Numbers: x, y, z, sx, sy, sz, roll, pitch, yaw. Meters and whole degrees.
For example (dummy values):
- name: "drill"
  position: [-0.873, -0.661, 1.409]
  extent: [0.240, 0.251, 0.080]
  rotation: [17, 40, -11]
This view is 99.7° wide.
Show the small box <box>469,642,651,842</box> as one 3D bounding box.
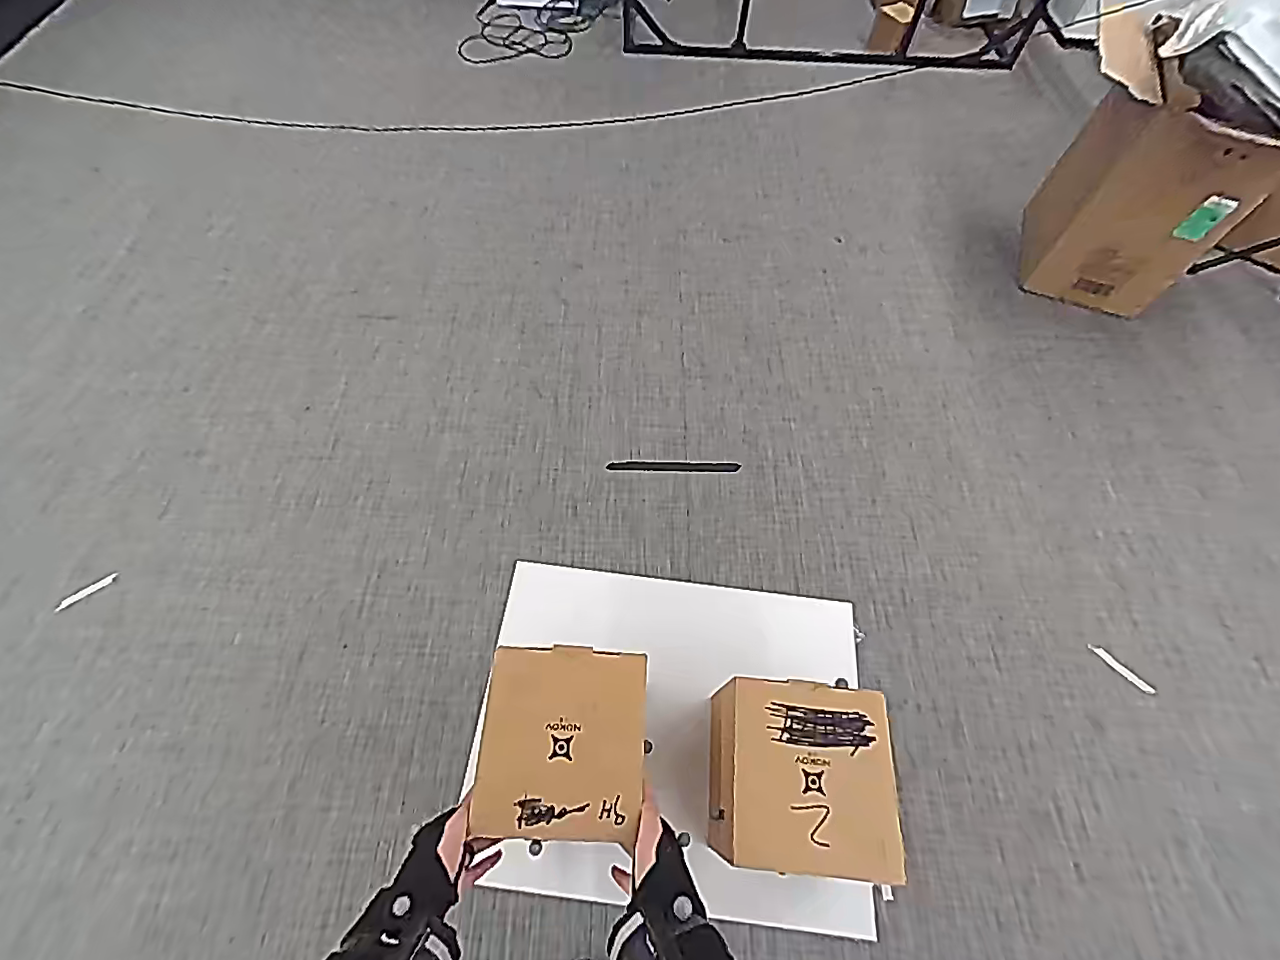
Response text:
- name: "small box"
  position: [-0.078, 0.295, 0.613]
  extent: [0.168, 0.176, 0.179]
  rotation: [4, 61, -1]
